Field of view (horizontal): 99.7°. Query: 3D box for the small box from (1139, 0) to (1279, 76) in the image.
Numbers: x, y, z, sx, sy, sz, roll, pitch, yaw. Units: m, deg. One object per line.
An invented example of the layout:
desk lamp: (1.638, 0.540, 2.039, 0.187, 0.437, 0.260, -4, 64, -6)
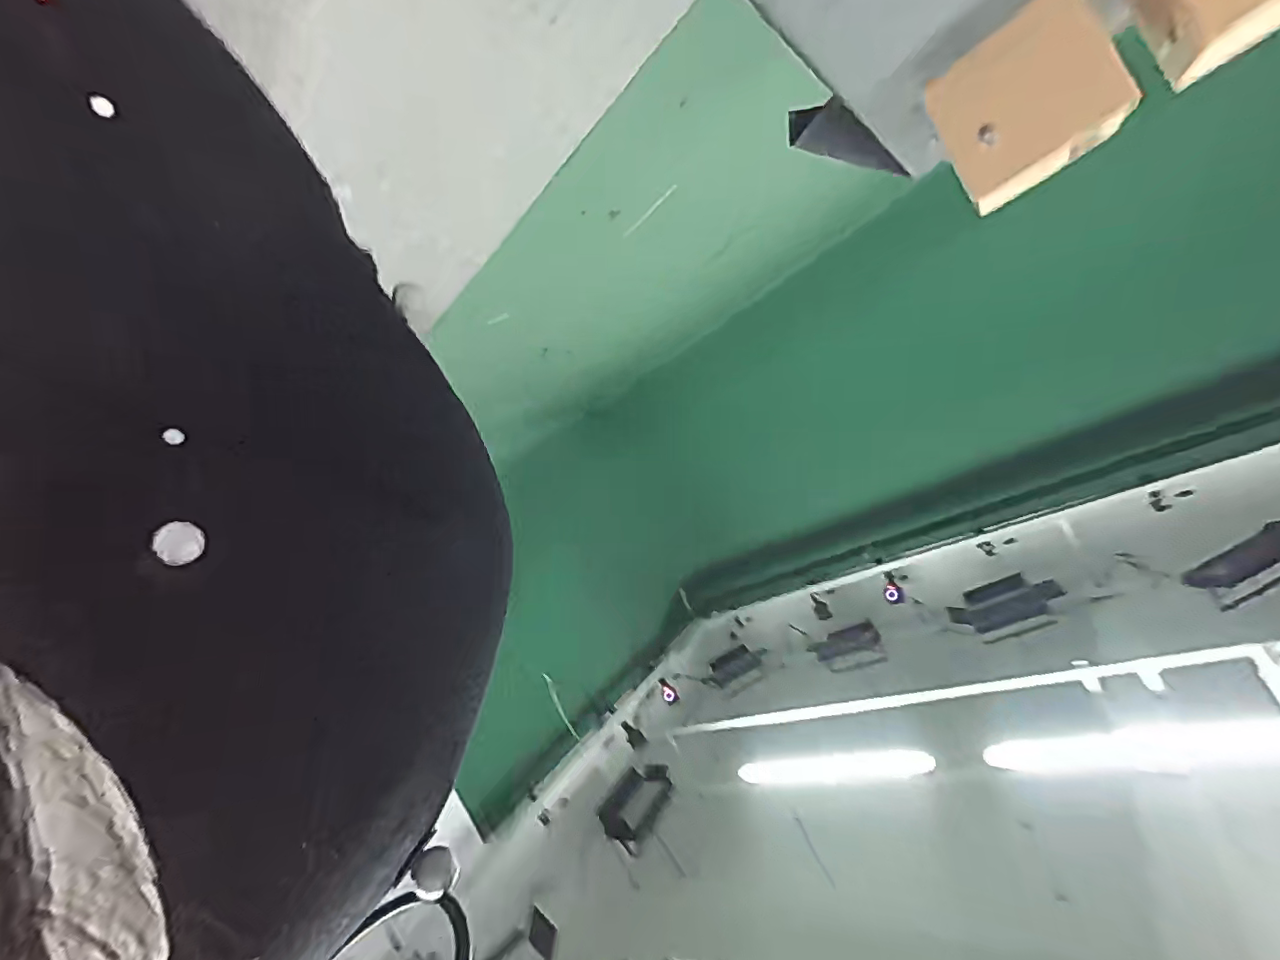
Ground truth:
small box: (0.664, -0.597, 0.580, 0.168, 0.176, 0.179, -30, 178, 38)
